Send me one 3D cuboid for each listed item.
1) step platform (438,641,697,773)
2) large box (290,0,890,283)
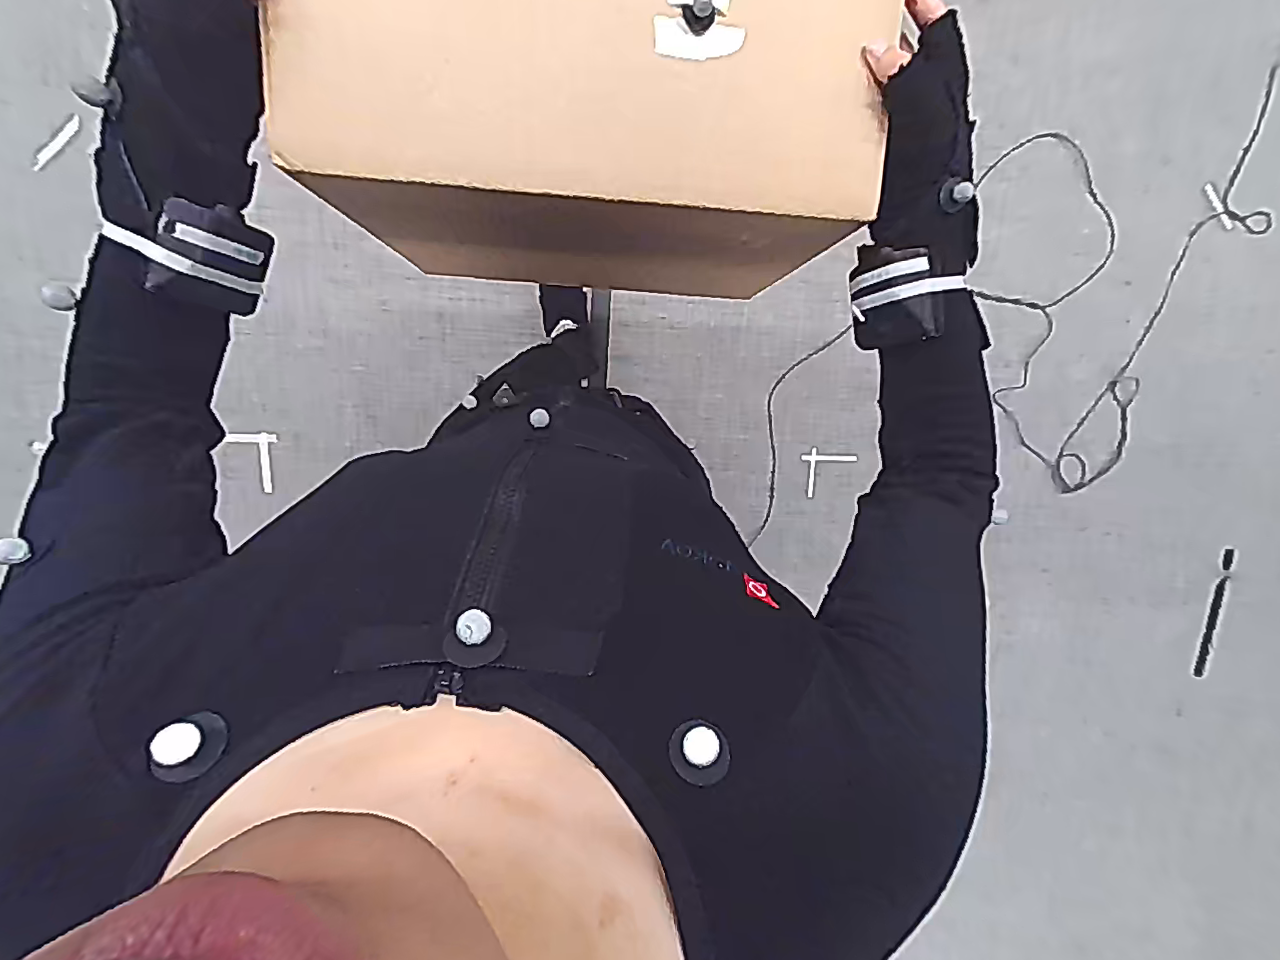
[{"bbox_3d":[-0.188,0.616,1.472,0.684,0.204,0.286,0,99,-1],"label":"step platform"},{"bbox_3d":[-0.038,-0.379,0.499,0.408,0.320,0.320,2,99,-6],"label":"large box"}]
